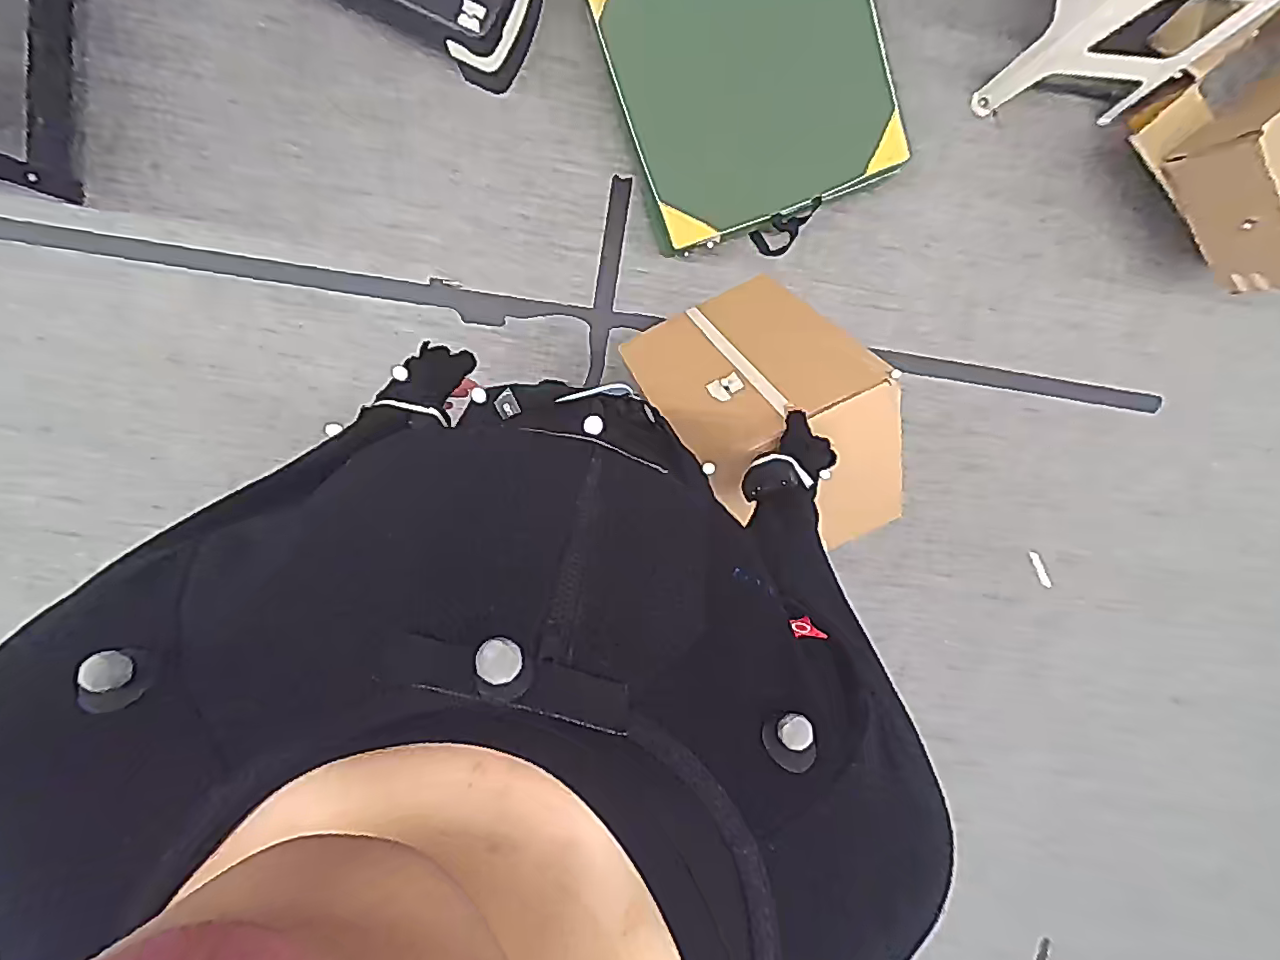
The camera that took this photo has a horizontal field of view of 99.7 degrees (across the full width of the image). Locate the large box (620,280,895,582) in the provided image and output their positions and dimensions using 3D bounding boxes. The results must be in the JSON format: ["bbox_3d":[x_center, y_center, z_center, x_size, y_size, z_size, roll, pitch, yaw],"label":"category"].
[{"bbox_3d":[0.204,-0.099,0.991,0.320,0.408,0.320,-27,134,1],"label":"large box"}]
